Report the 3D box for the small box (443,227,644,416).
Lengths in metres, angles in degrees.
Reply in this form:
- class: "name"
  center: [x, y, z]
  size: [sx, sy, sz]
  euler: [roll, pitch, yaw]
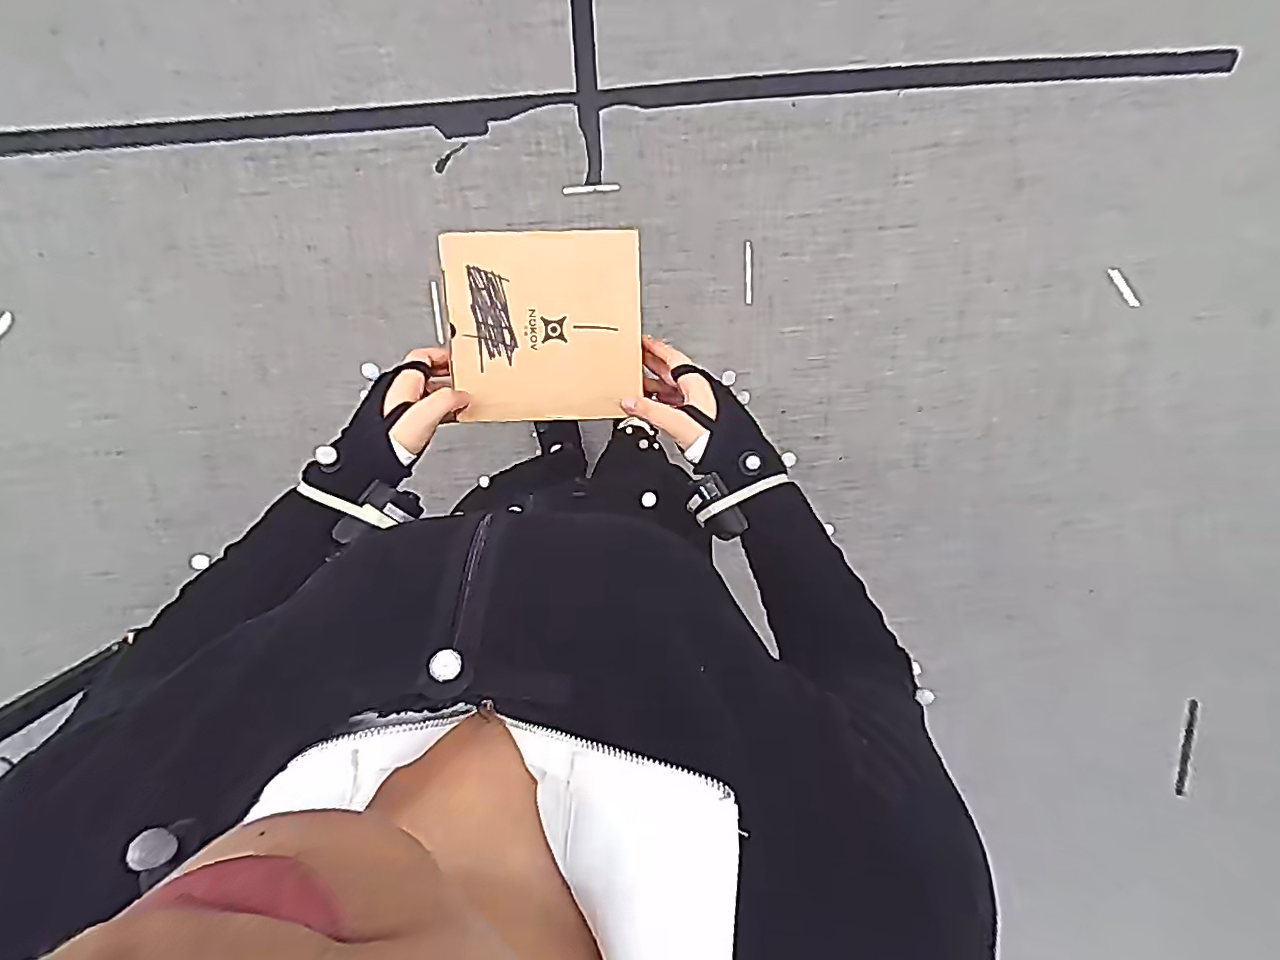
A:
- class: "small box"
  center: [-0.086, -0.154, 0.562]
  size: [0.179, 0.176, 0.168]
  euler: [-2, 102, -2]
